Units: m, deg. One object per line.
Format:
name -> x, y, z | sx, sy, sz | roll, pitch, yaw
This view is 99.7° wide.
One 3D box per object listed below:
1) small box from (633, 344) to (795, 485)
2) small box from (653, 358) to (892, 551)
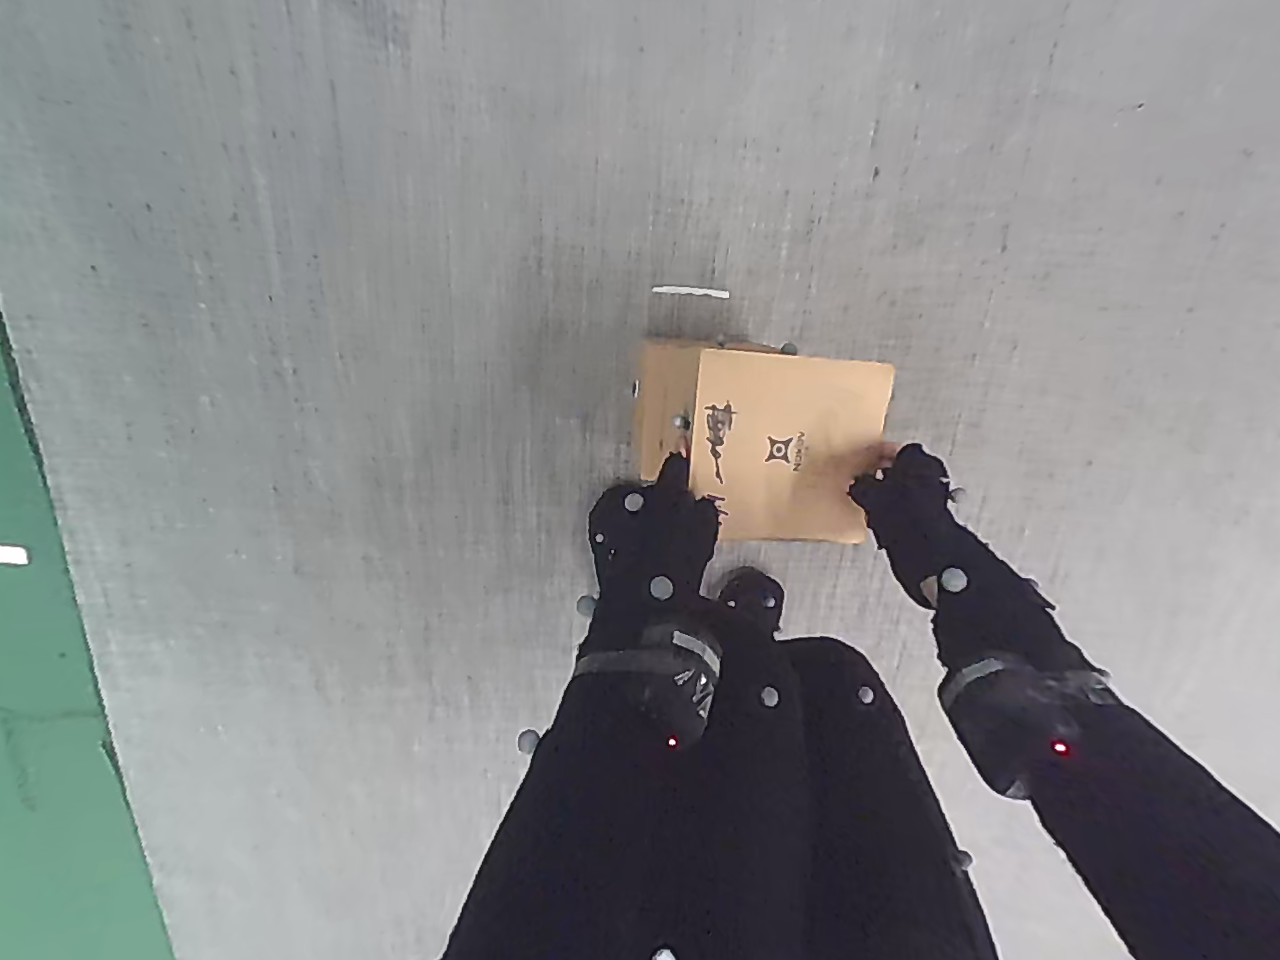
small box -> 0.087, -0.093, 0.732 | 0.179, 0.176, 0.168 | 2, 107, -5
small box -> 0.118, -0.034, 0.554 | 0.179, 0.176, 0.168 | 3, 101, -8
